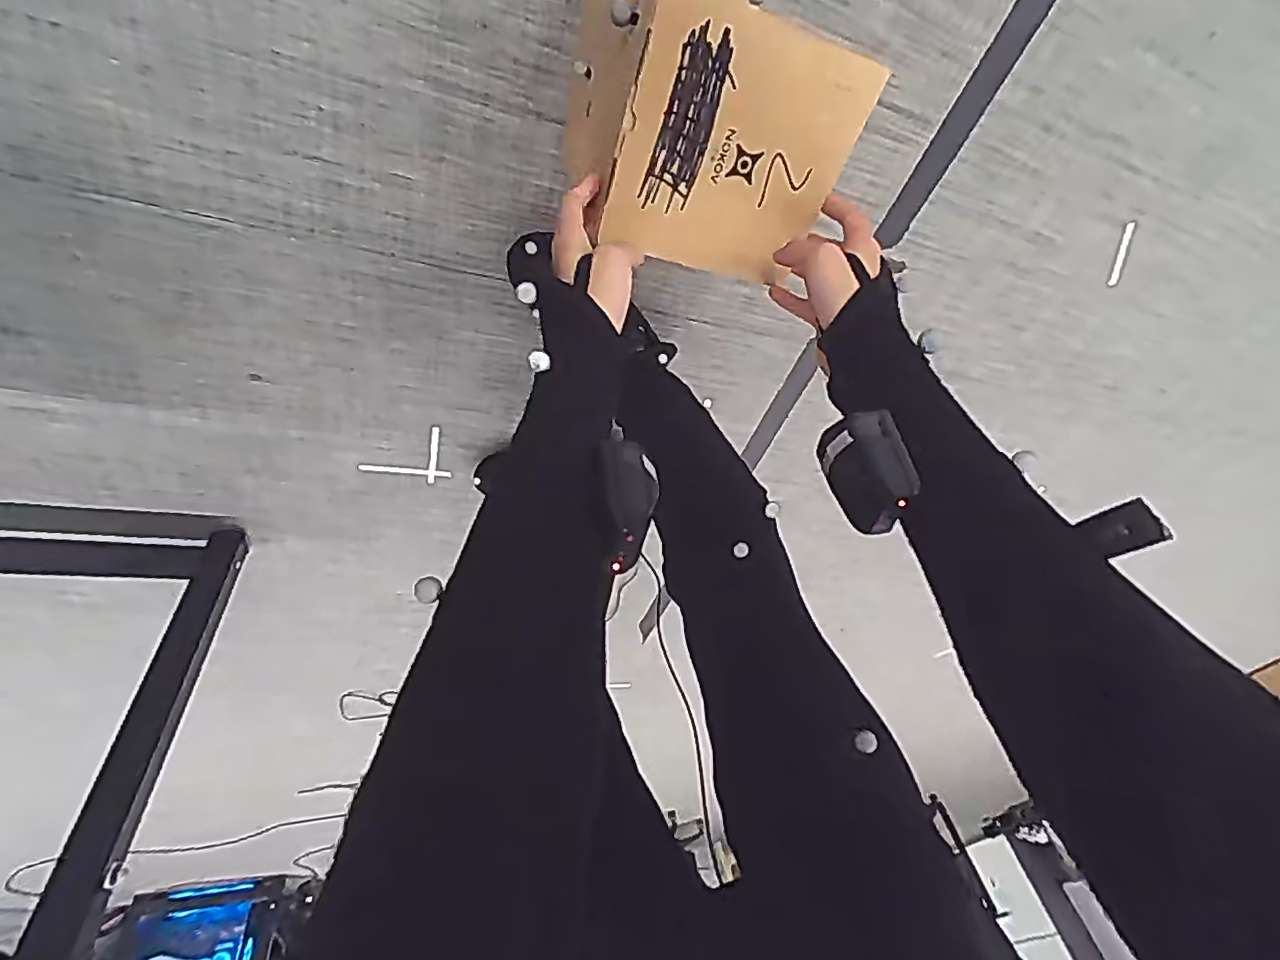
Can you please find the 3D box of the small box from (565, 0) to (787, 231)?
[{"bbox_3d":[0.019,-0.398,0.571,0.168,0.176,0.179,5,134,-19],"label":"small box"}]
